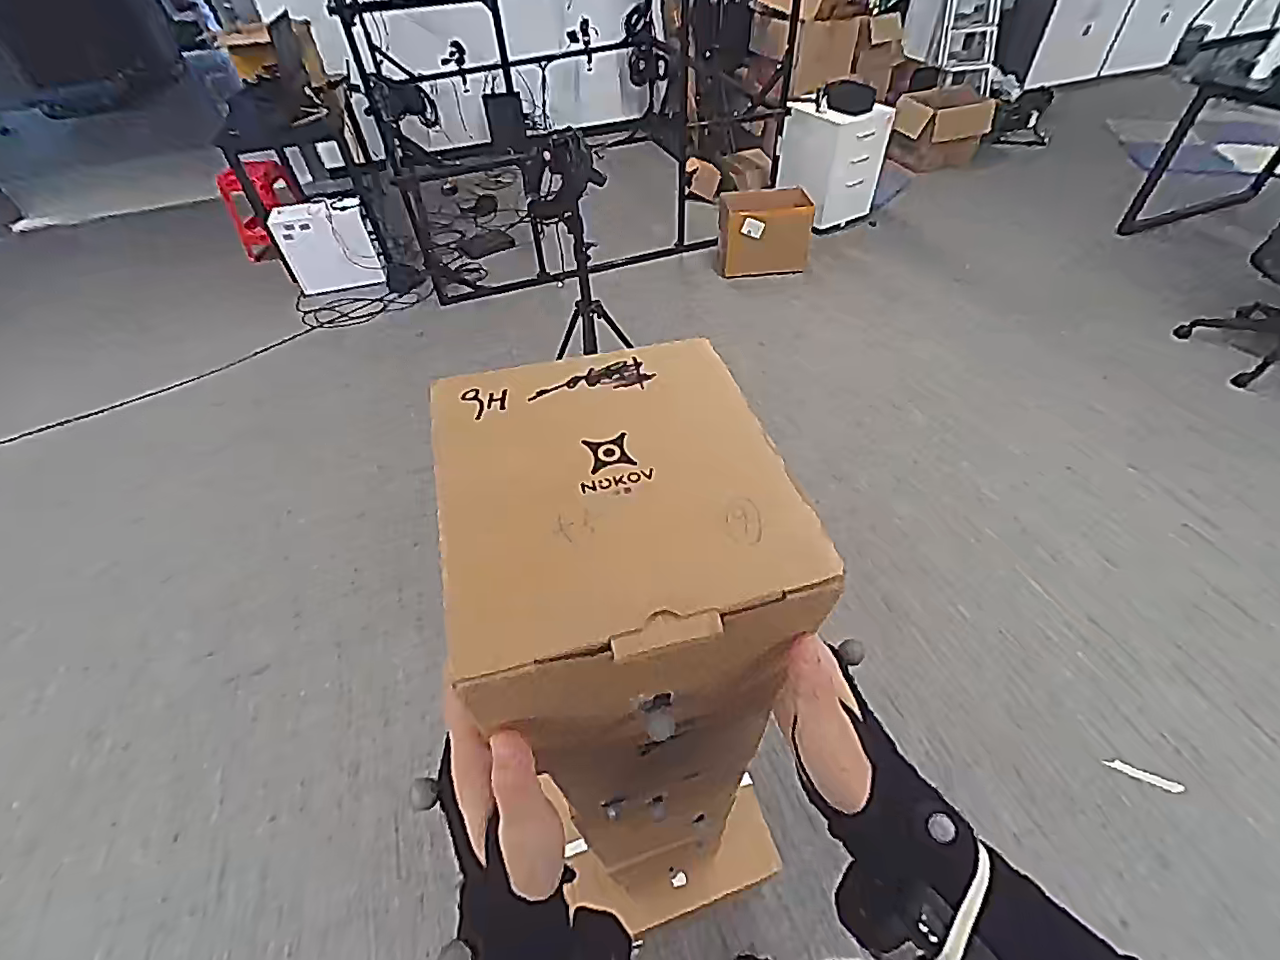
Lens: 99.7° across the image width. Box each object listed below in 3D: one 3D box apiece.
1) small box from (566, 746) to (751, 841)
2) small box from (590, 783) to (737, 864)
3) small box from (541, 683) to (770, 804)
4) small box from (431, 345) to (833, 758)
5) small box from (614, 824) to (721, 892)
[{"bbox_3d":[0.002,0.272,0.599,0.179,0.176,0.168,-14,50,-9],"label":"small box"},{"bbox_3d":[0.010,0.380,0.718,0.179,0.176,0.168,-15,49,-9],"label":"small box"},{"bbox_3d":[-0.004,0.161,0.476,0.168,0.176,0.179,-14,48,-9],"label":"small box"},{"bbox_3d":[-0.017,0.049,0.327,0.168,0.176,0.179,-12,53,-11],"label":"small box"},{"bbox_3d":[0.027,0.600,0.962,0.179,0.176,0.168,-17,50,-13],"label":"small box"}]
